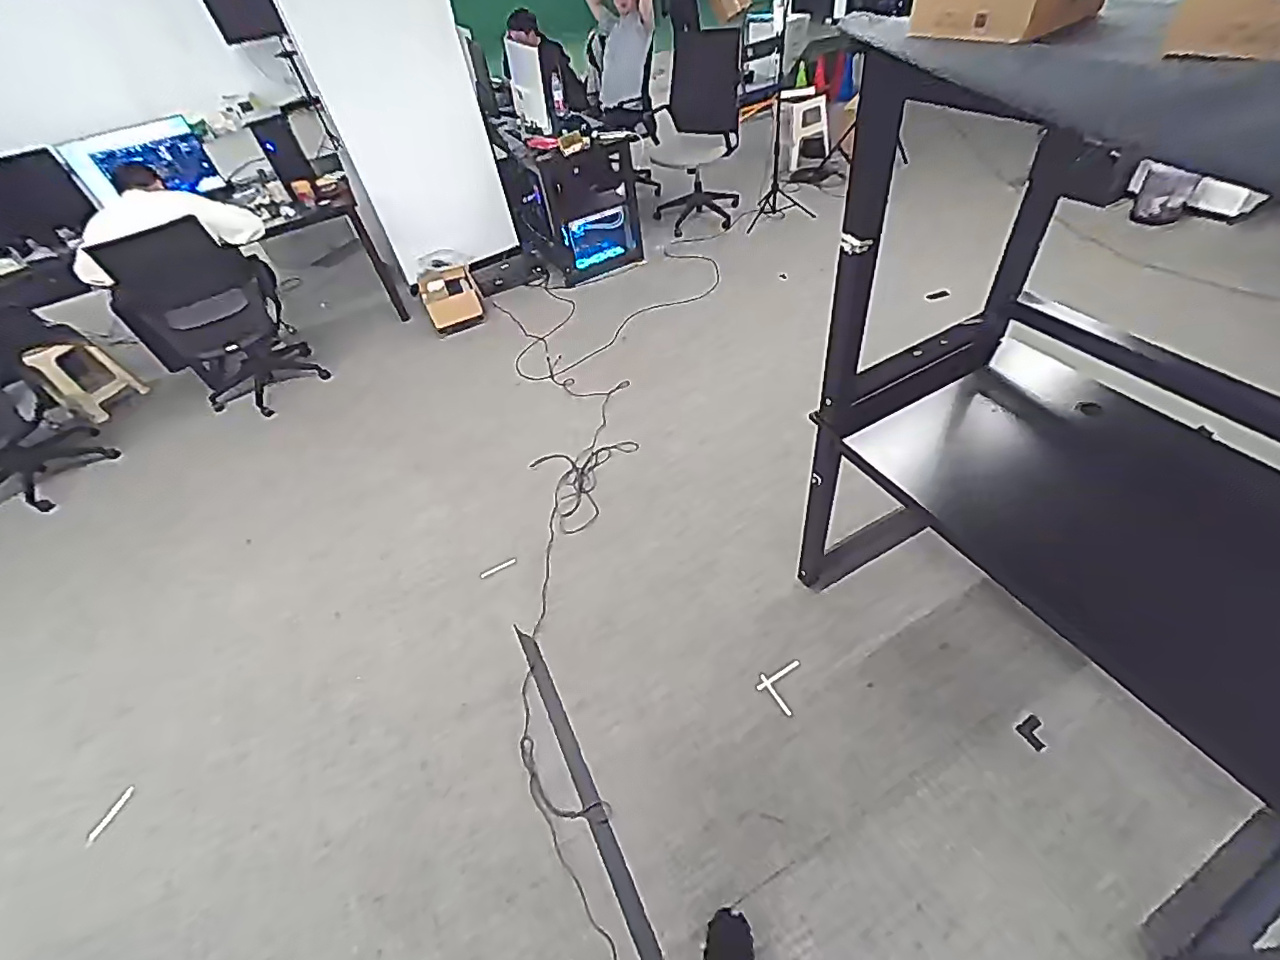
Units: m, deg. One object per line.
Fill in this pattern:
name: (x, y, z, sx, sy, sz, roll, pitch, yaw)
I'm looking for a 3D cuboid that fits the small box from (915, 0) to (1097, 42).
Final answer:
small box: (0.471, -0.665, 0.659, 0.179, 0.176, 0.168, -32, 51, -18)
